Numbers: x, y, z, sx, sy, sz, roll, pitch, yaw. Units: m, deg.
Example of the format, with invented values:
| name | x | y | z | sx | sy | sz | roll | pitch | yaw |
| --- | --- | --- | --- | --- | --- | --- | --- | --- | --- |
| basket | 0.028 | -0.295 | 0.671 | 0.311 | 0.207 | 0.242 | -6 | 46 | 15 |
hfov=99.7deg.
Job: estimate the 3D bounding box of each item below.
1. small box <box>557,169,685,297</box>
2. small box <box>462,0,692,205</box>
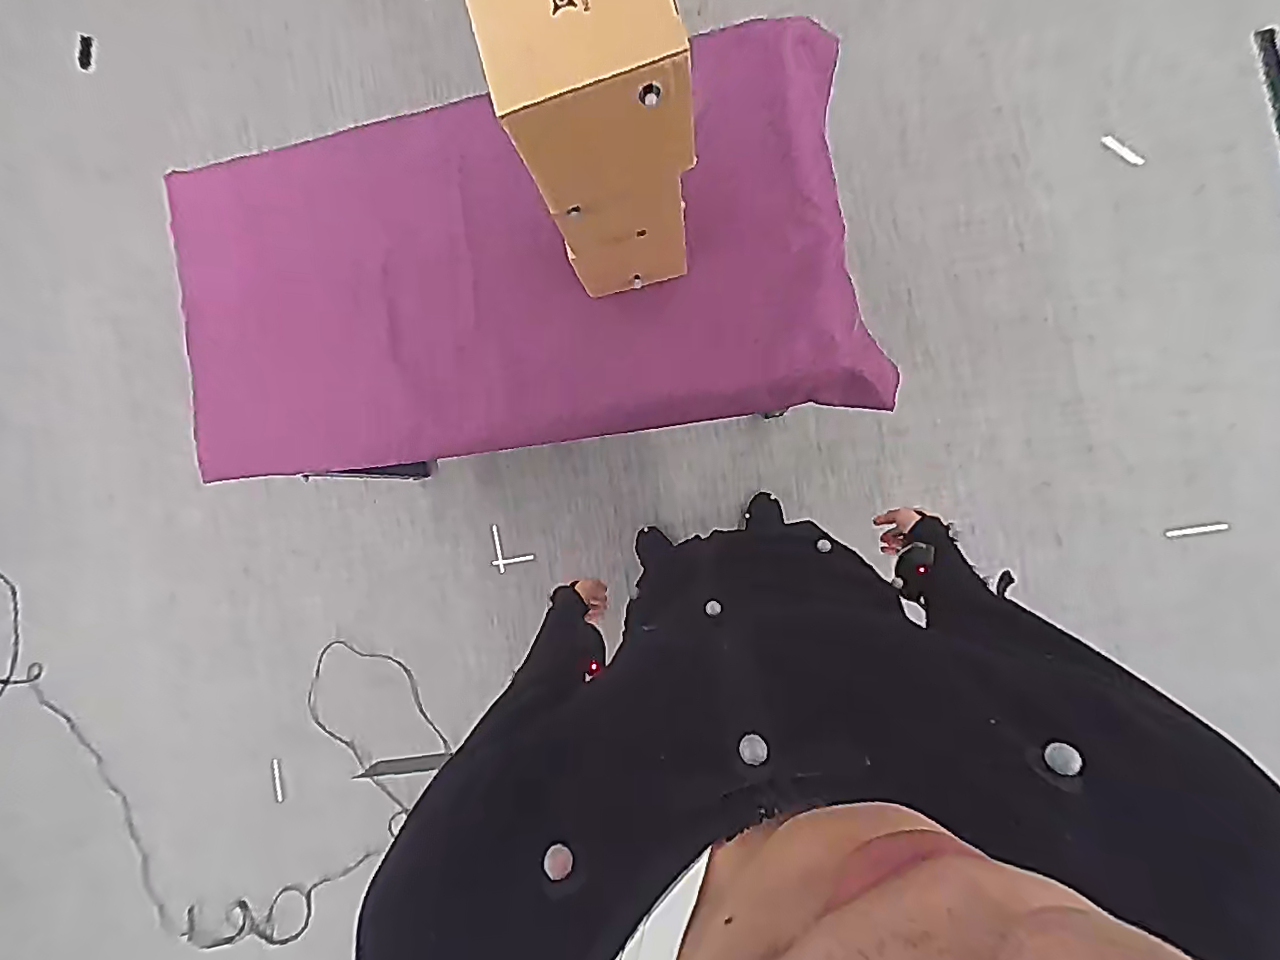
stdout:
| name | x | y | z | sx | sy | sz | roll | pitch | yaw |
| --- | --- | --- | --- | --- | --- | --- | --- | --- | --- |
| small box | -0.030 | -0.415 | 0.860 | 0.179 | 0.176 | 0.168 | -13 | 87 | 5 |
| small box | -0.053 | -0.407 | 0.532 | 0.179 | 0.176 | 0.168 | -16 | 87 | 6 |
